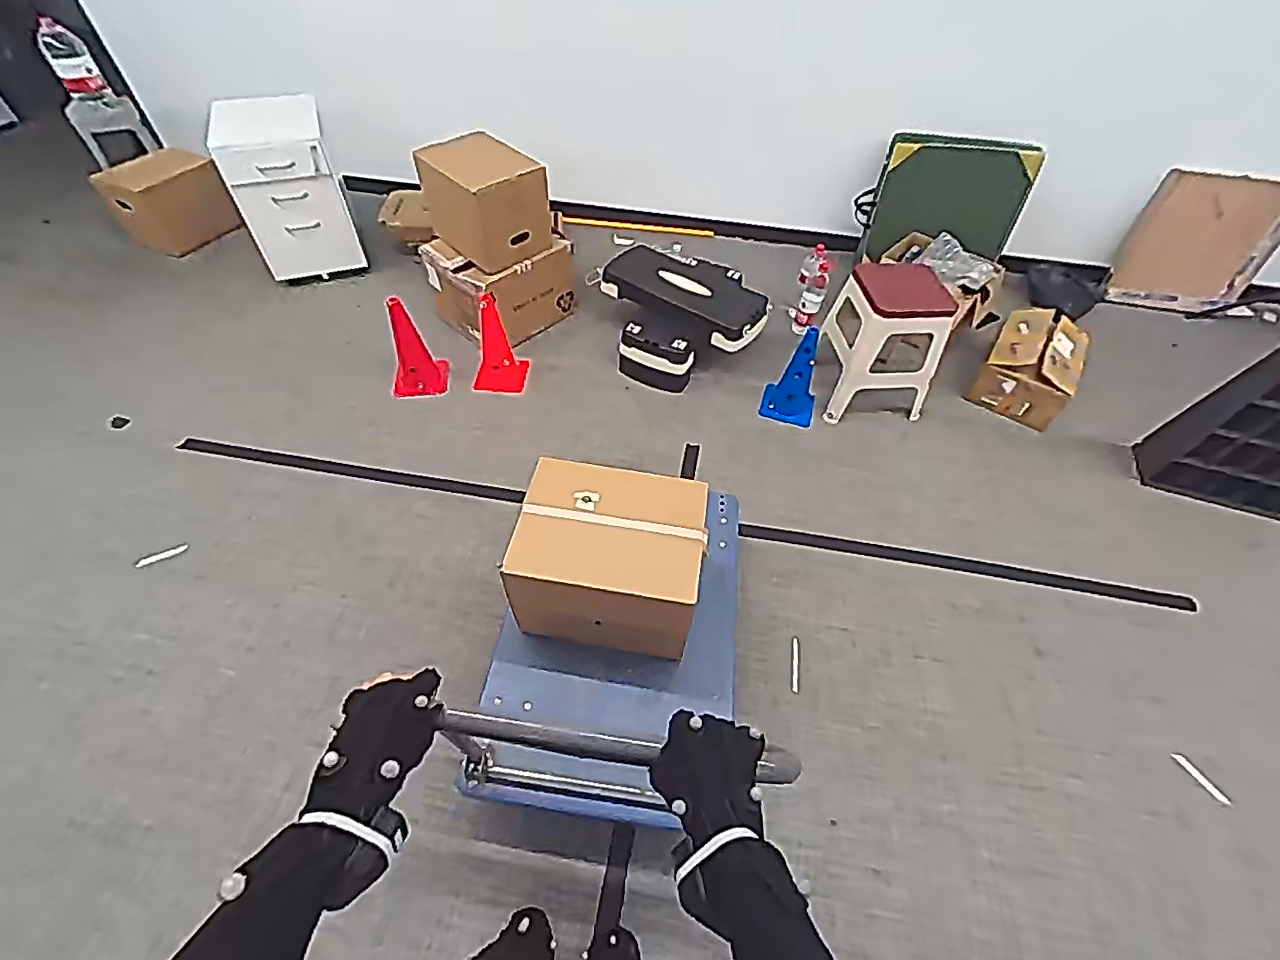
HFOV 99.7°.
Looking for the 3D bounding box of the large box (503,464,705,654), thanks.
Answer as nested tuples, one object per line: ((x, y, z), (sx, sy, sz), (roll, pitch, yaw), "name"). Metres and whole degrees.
((-0.067, 0.195, 1.305), (0.408, 0.320, 0.320), (9, 52, 5), "large box")
